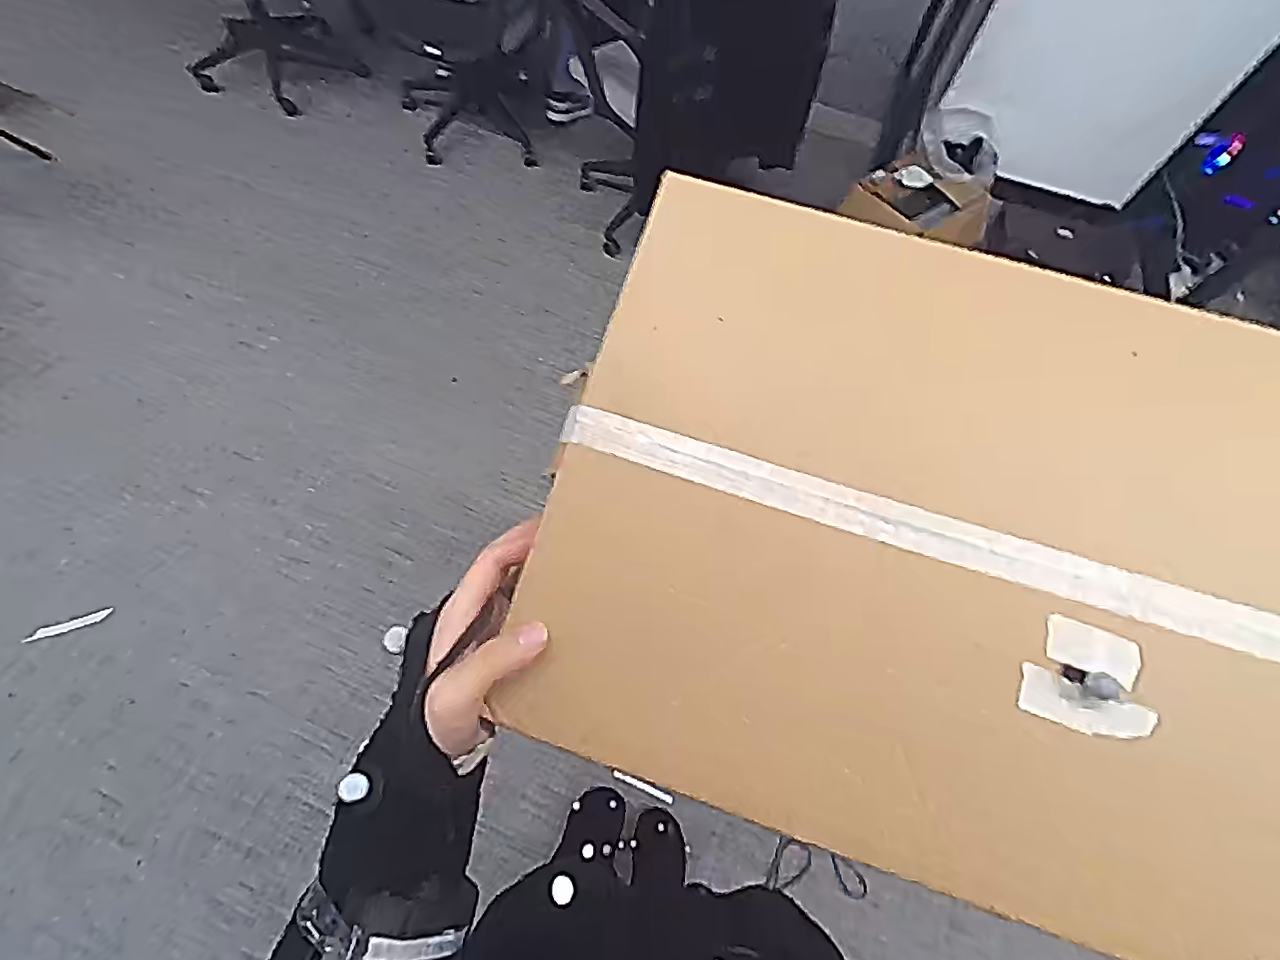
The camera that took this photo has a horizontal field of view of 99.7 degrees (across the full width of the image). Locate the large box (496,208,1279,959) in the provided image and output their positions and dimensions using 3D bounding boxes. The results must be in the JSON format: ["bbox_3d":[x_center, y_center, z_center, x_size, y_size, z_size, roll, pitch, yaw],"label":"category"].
[{"bbox_3d":[0.162,0.062,0.423,0.408,0.320,0.320,17,82,5],"label":"large box"}]
